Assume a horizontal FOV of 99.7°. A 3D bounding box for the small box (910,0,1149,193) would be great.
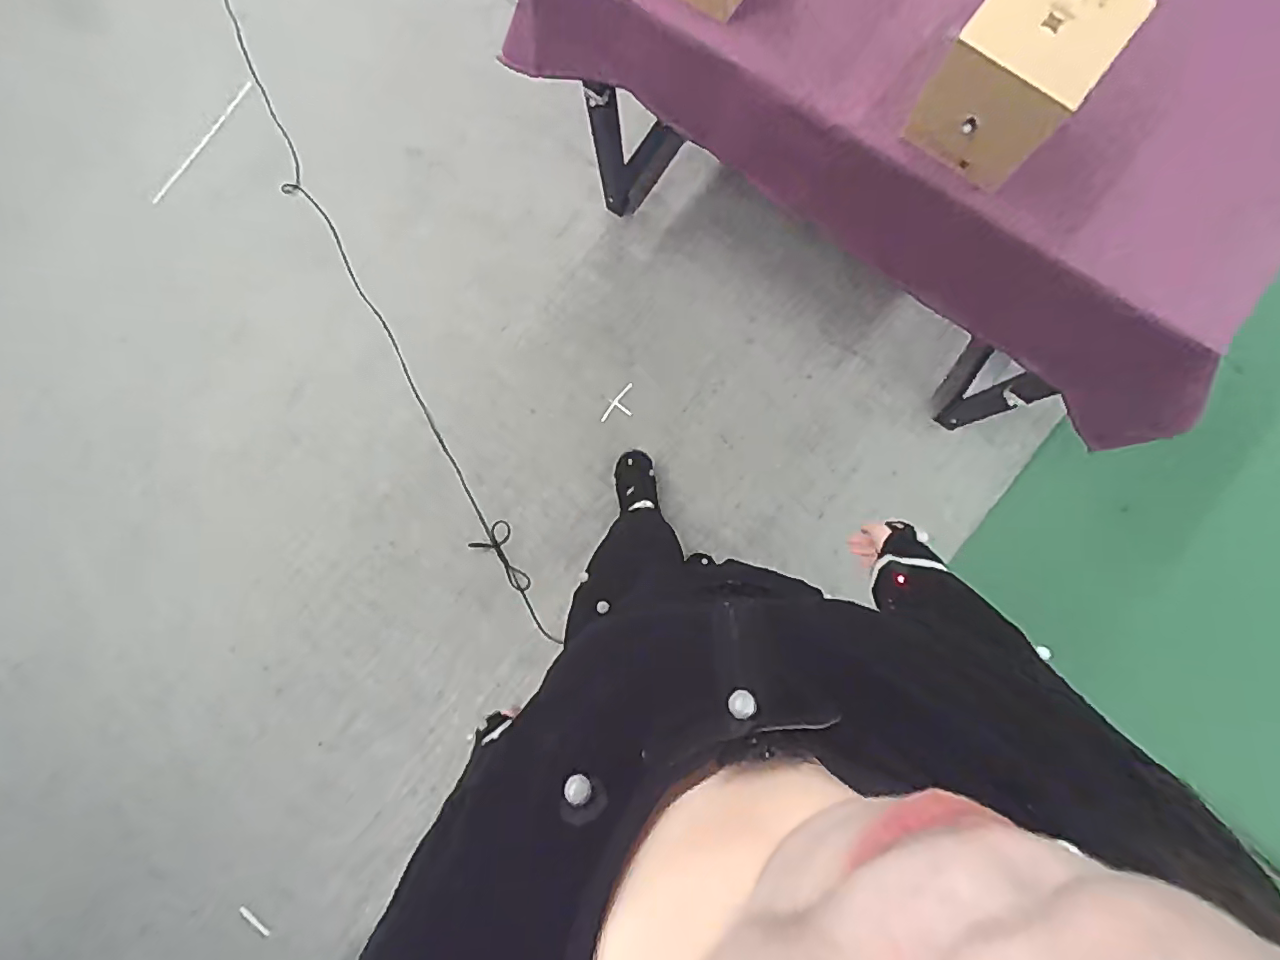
[{"bbox_3d":[0.502,-0.539,0.734,0.168,0.176,0.179,38,88,4],"label":"small box"}]
